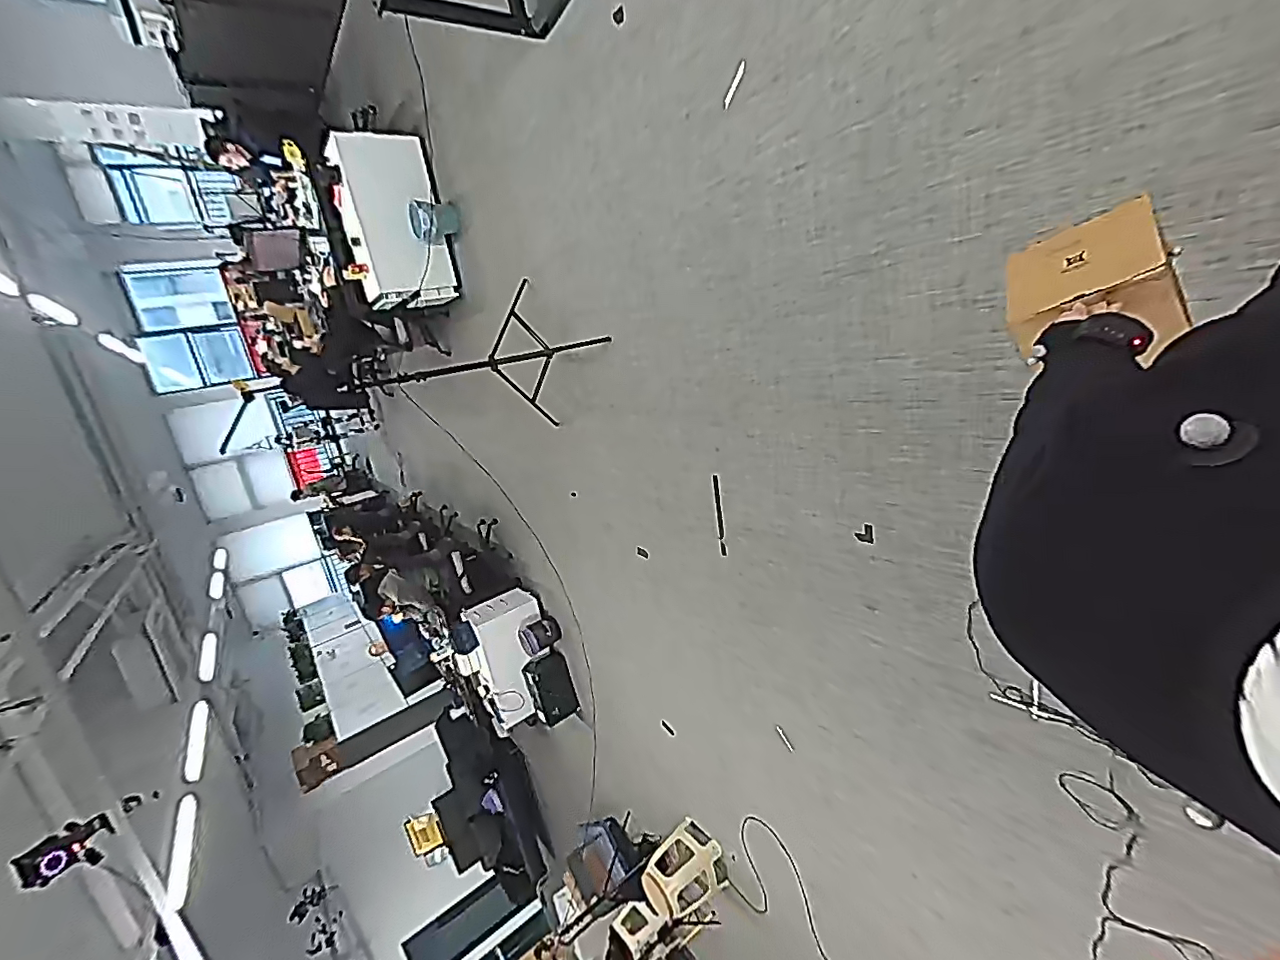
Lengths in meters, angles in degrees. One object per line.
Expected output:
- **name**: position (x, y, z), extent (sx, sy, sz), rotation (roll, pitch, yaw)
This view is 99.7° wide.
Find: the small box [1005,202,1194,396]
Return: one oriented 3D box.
- **small box**: position (0.644, -0.241, 0.768), extent (0.176, 0.179, 0.168), rotation (44, 143, -24)
